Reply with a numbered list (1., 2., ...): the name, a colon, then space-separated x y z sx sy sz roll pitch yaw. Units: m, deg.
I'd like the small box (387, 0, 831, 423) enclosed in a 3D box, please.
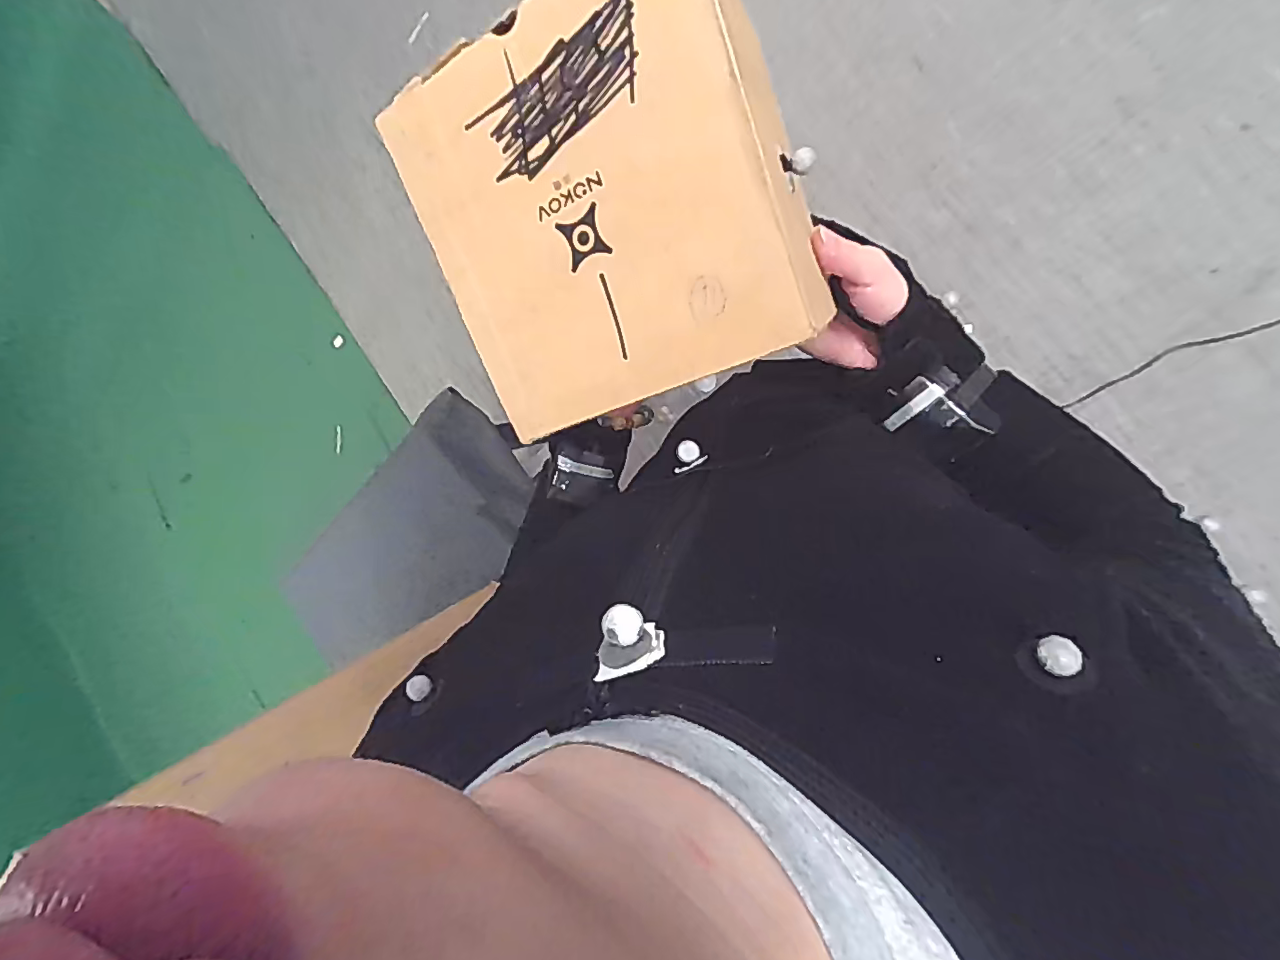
1. small box: 0.003 -0.154 0.316 0.168 0.176 0.179 -15 104 28
